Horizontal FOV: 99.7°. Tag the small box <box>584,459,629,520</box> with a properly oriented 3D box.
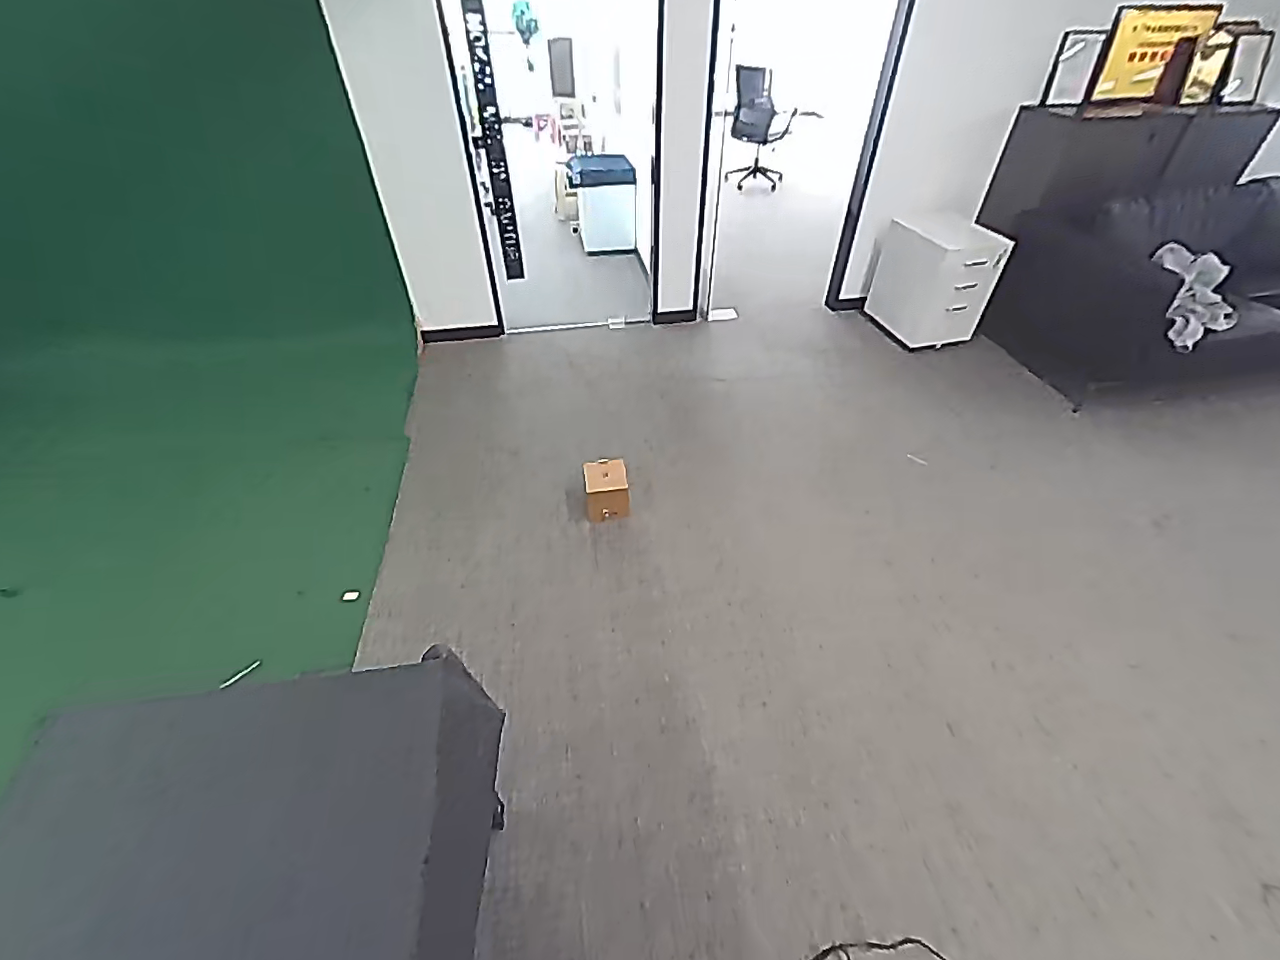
[{"bbox_3d":[-0.136,0.040,2.172,0.168,0.176,0.179,-6,43,-3],"label":"small box"}]
